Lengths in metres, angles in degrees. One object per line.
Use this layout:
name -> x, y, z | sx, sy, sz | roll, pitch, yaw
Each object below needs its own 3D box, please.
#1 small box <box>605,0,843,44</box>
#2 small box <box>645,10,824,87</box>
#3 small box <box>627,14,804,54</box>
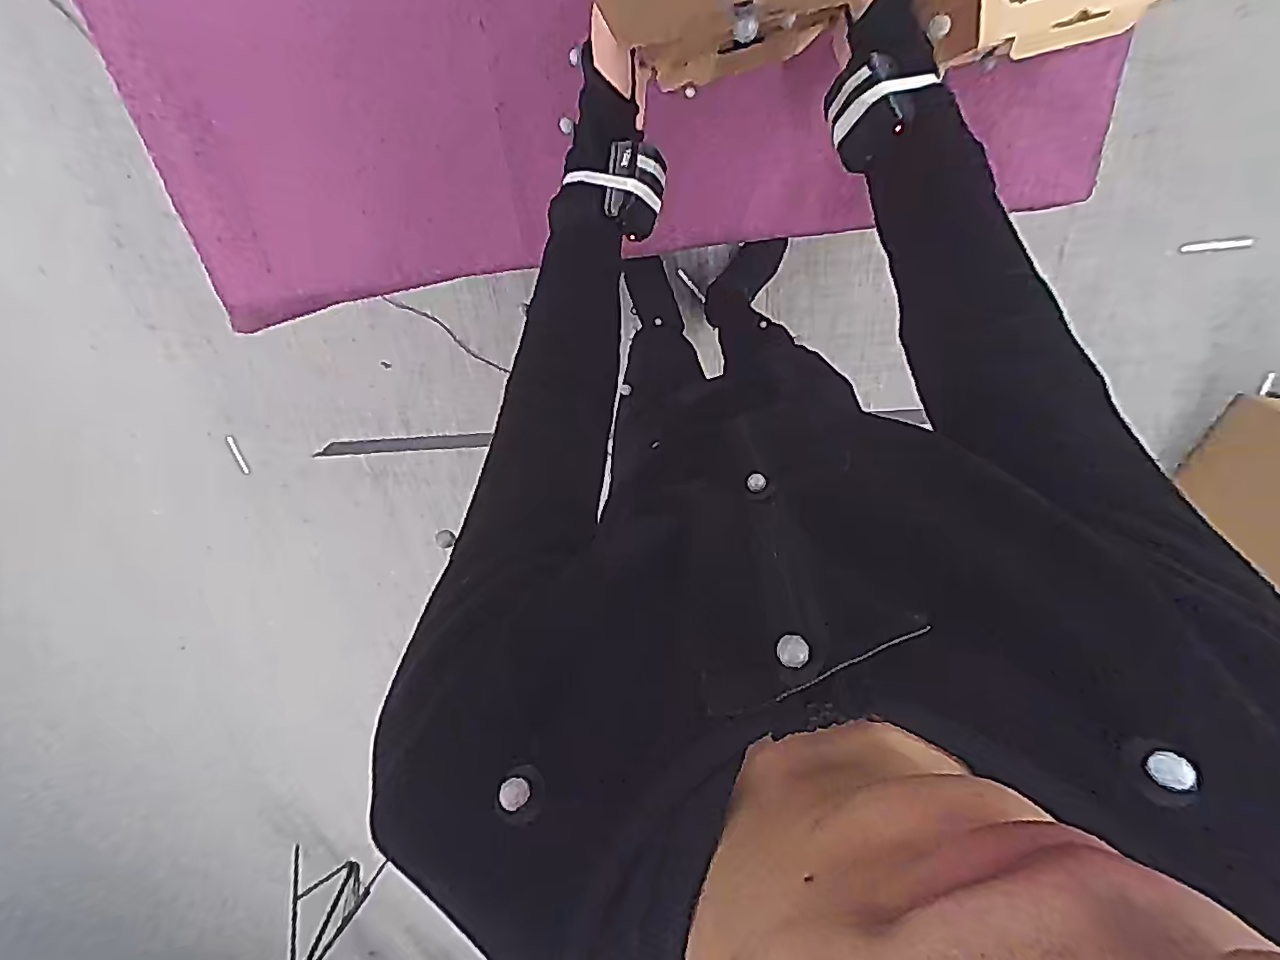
small box -> 0.045, -0.342, 0.251 | 0.168, 0.176, 0.179 | -5, 119, 8
small box -> 0.076, -0.512, 0.530 | 0.168, 0.176, 0.179 | -10, 118, 10
small box -> 0.056, -0.436, 0.387 | 0.168, 0.176, 0.179 | -10, 118, 10
